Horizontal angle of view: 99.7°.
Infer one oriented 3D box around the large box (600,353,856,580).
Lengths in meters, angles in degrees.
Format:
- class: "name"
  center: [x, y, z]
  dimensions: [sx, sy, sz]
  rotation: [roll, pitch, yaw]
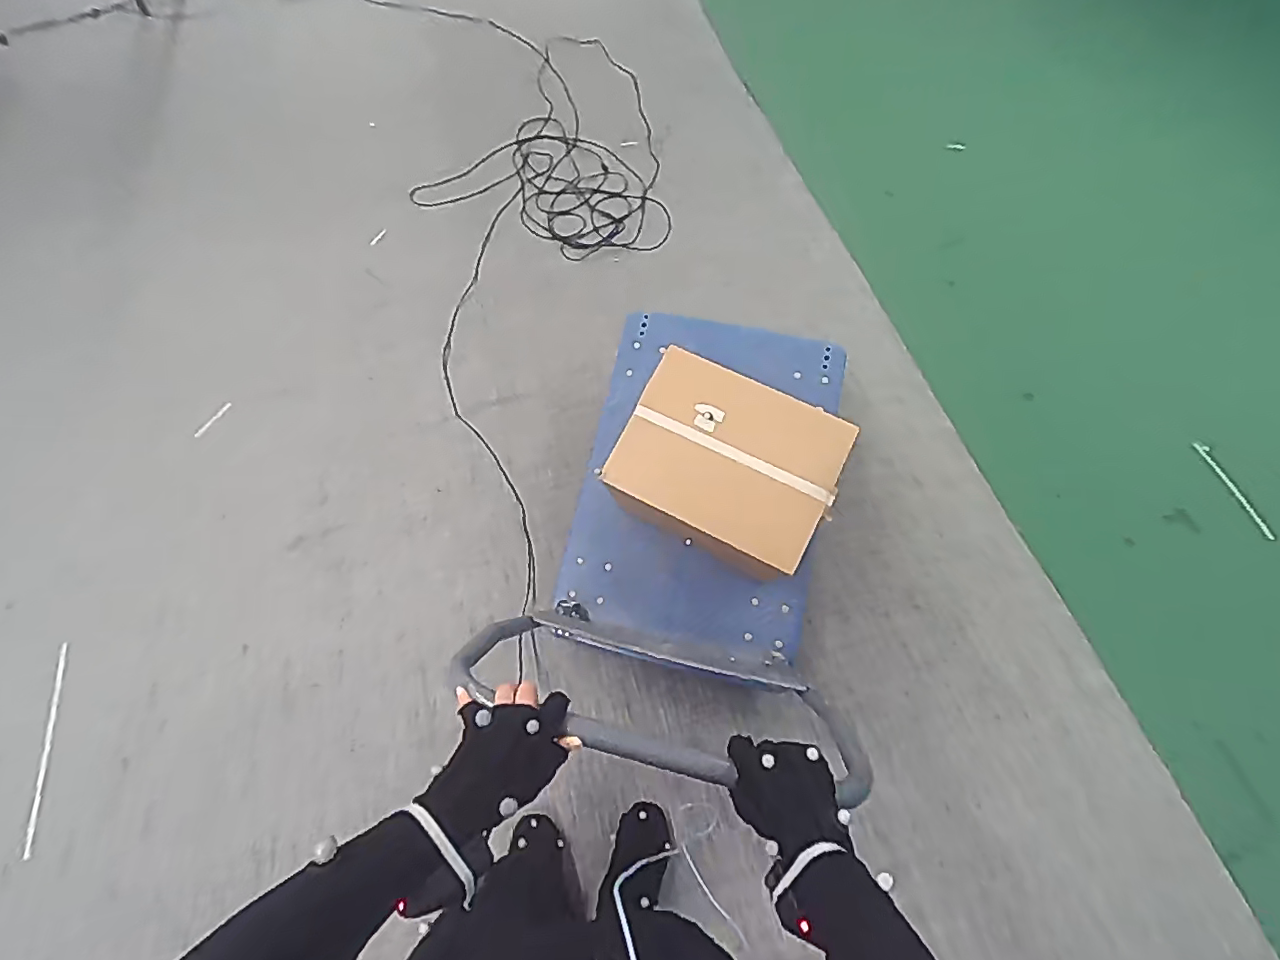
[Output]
- class: "large box"
  center: [0.181, -0.009, 1.171]
  dimensions: [0.408, 0.320, 0.320]
  rotation: [27, 81, 11]
